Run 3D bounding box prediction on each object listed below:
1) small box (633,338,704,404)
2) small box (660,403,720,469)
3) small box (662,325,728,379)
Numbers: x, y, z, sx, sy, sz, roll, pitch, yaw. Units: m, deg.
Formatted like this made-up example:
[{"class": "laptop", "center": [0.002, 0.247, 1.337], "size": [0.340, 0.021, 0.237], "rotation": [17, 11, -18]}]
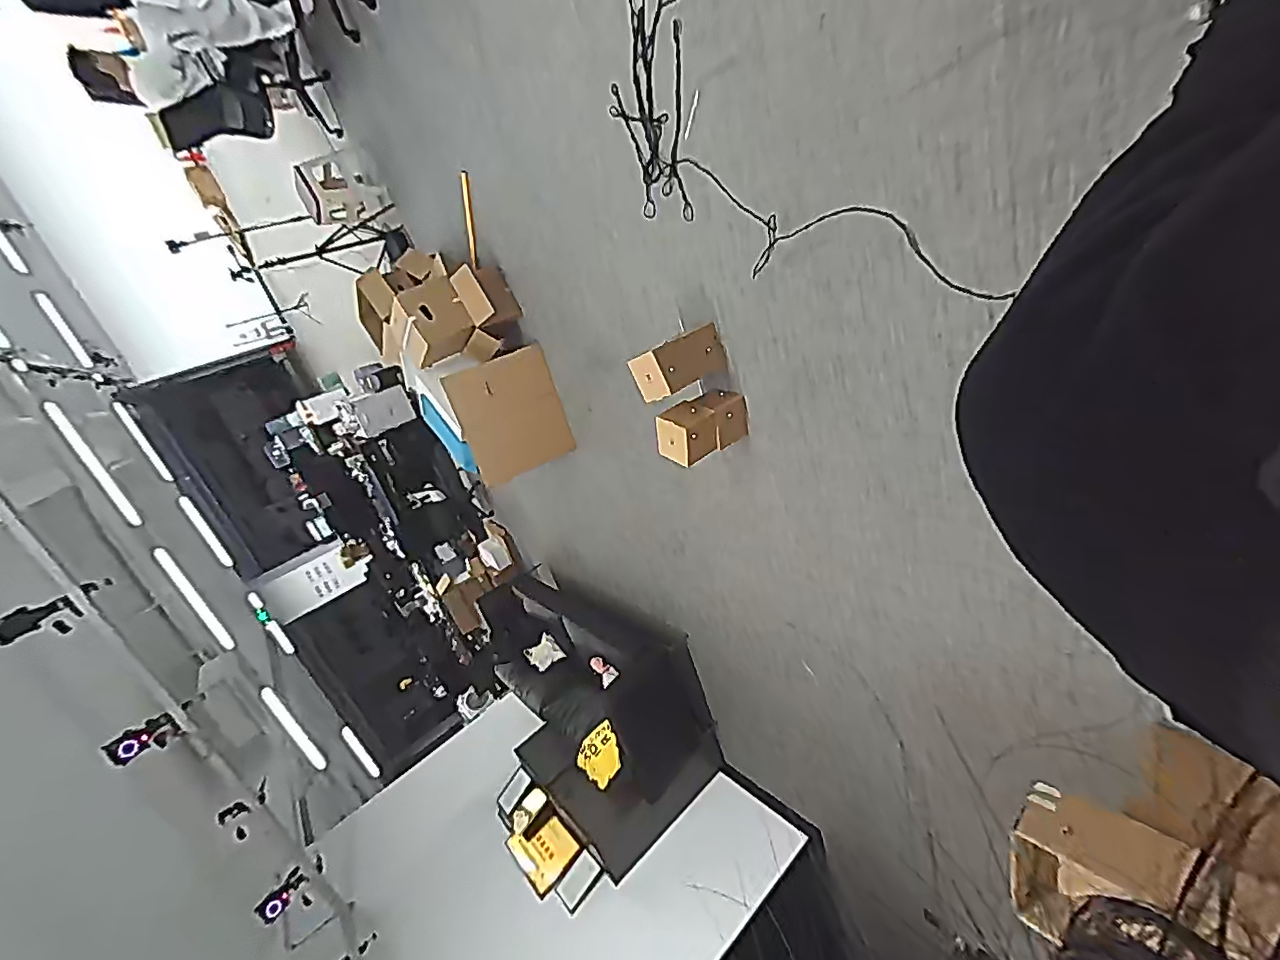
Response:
[{"class": "small box", "center": [0.112, -0.408, 2.027], "size": [0.168, 0.176, 0.179], "rotation": [-6, 112, 57]}, {"class": "small box", "center": [0.201, -0.177, 2.112], "size": [0.168, 0.176, 0.179], "rotation": [30, 139, 41]}, {"class": "small box", "center": [0.222, -0.491, 2.115], "size": [0.179, 0.176, 0.168], "rotation": [2, 119, 56]}]
